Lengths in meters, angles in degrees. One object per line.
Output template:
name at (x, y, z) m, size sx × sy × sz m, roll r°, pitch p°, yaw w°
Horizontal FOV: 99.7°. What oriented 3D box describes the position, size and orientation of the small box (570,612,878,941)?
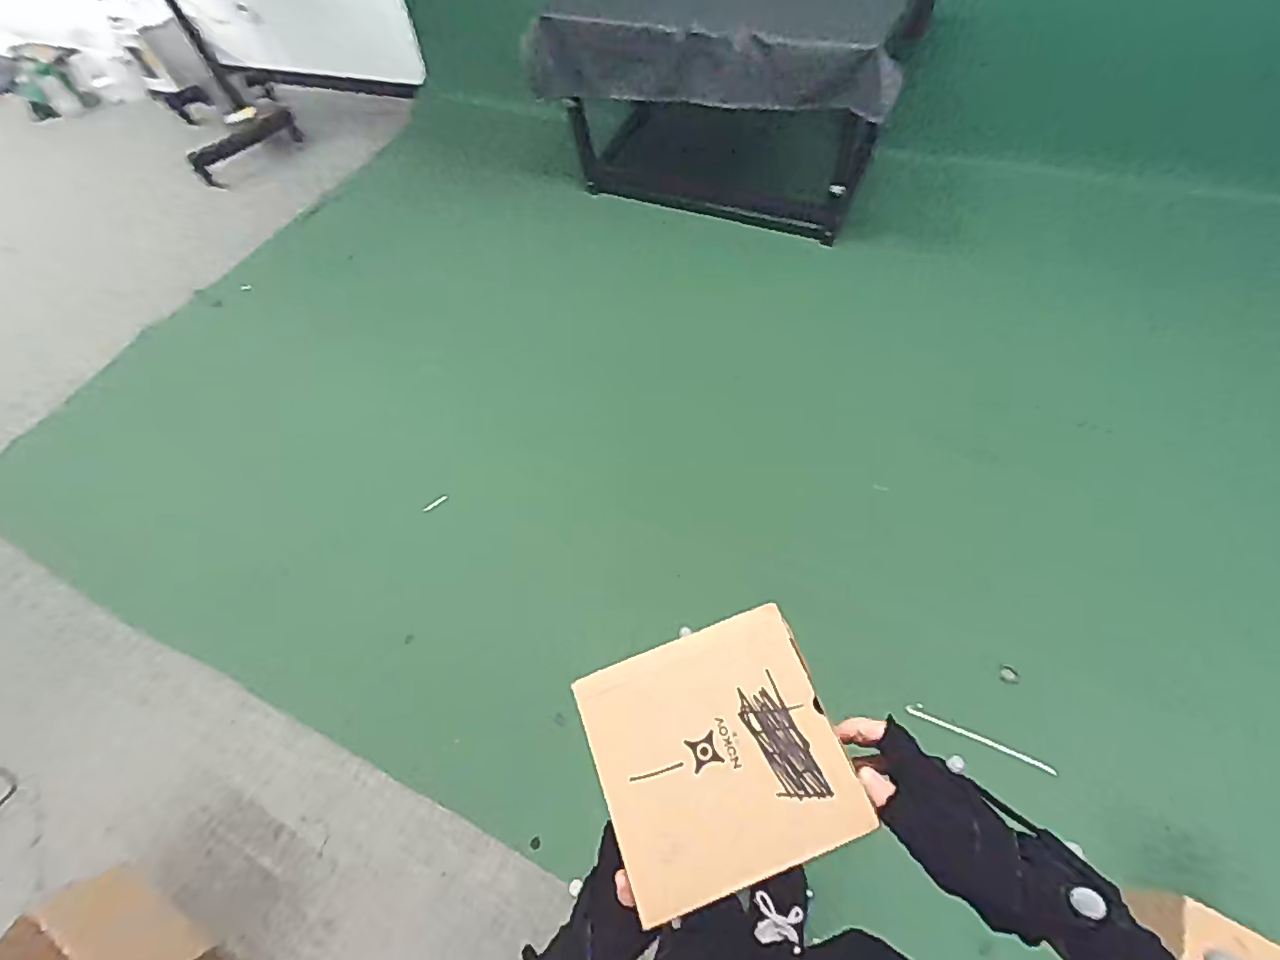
small box at (0.059, 0.233, 0.458) m, size 0.179 × 0.176 × 0.168 m, roll -21°, pitch 64°, yaw -4°
